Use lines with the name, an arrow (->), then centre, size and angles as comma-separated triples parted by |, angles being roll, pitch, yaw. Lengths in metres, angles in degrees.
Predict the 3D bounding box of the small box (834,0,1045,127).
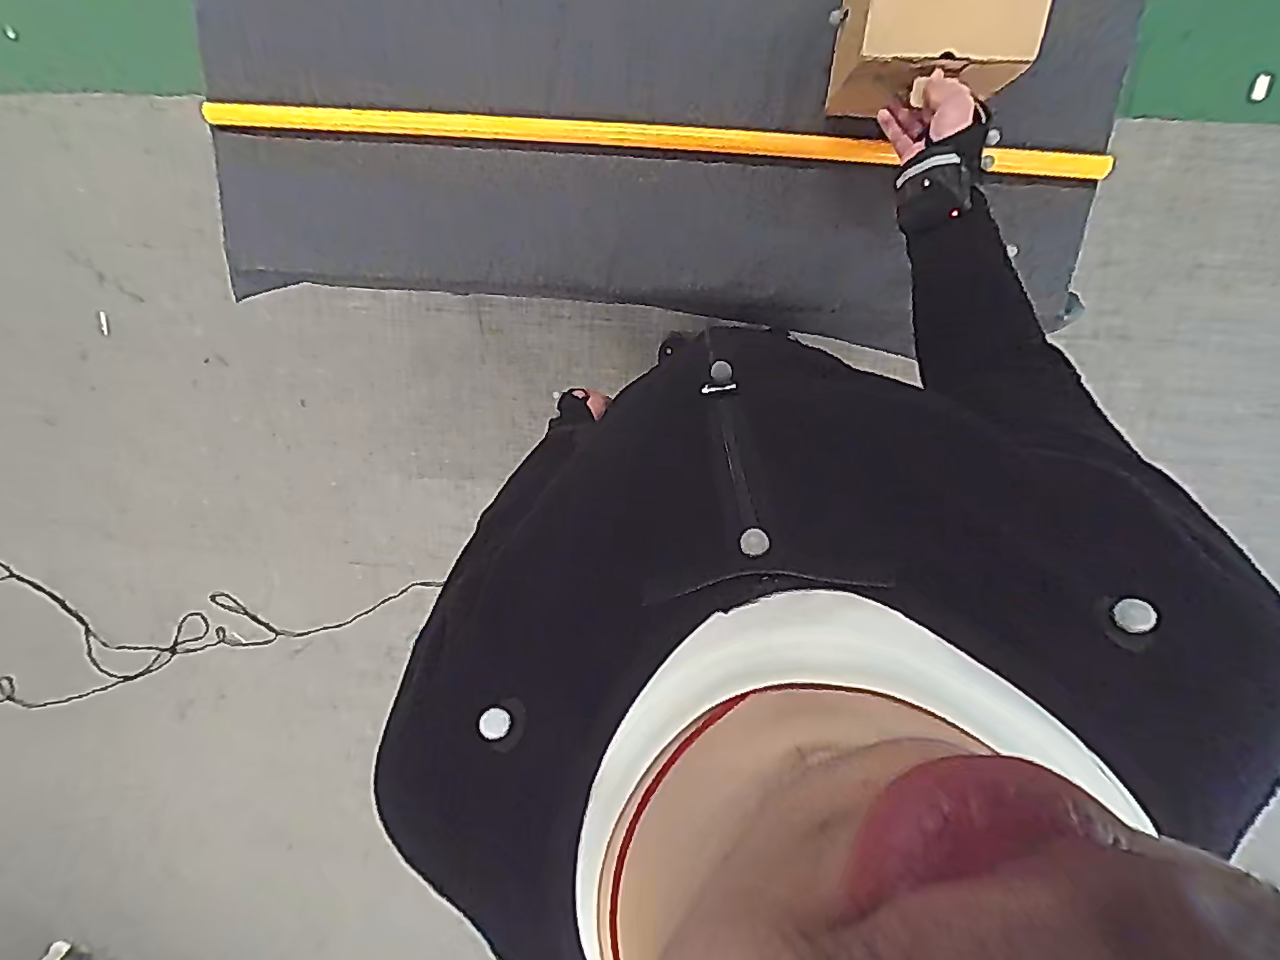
small box -> 0.317, -0.506, 0.591 | 0.168, 0.176, 0.179 | 4, 107, 8
